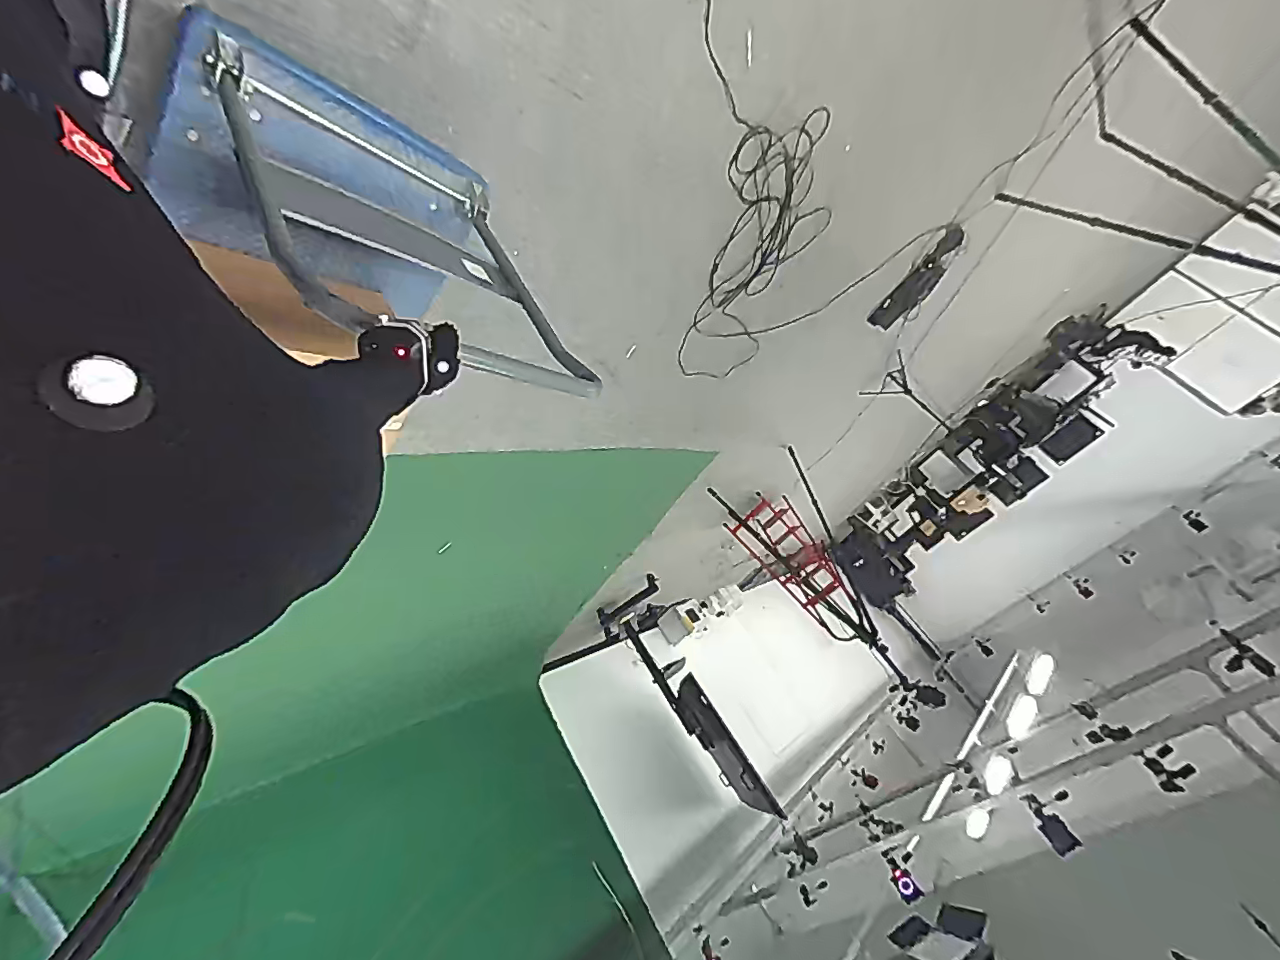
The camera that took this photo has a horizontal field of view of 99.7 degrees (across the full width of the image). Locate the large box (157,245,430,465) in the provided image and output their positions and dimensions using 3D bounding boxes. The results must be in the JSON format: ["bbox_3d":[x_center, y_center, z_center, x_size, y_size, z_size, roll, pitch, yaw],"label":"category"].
[{"bbox_3d":[-0.756,-0.248,1.182,0.408,0.320,0.320,-2,139,-52],"label":"large box"}]
